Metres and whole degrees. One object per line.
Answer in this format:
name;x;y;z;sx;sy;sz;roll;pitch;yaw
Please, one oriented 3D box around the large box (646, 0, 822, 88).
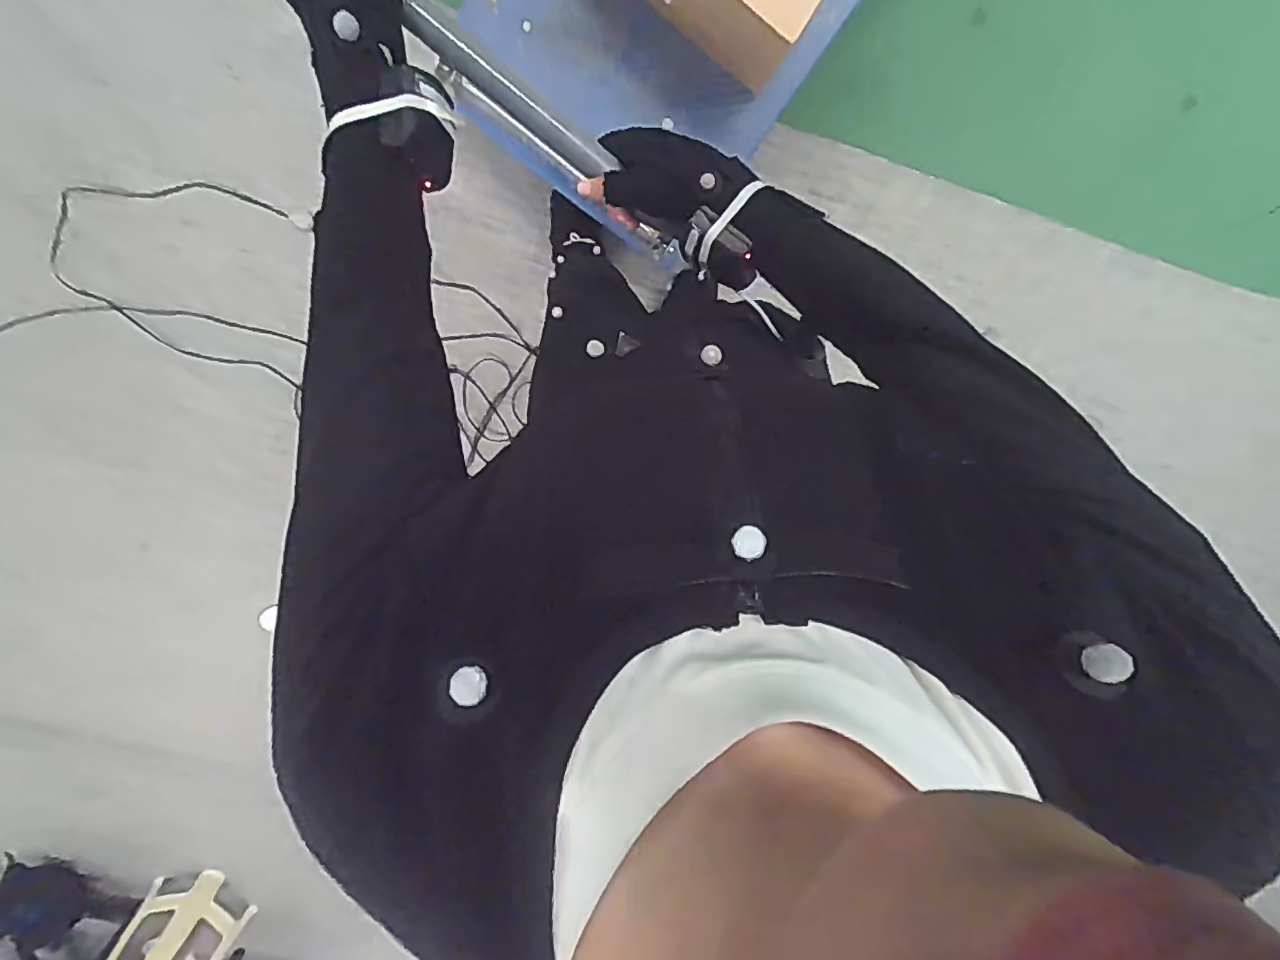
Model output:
large box;0.137;-0.885;0.798;0.408;0.320;0.320;32;112;-11
